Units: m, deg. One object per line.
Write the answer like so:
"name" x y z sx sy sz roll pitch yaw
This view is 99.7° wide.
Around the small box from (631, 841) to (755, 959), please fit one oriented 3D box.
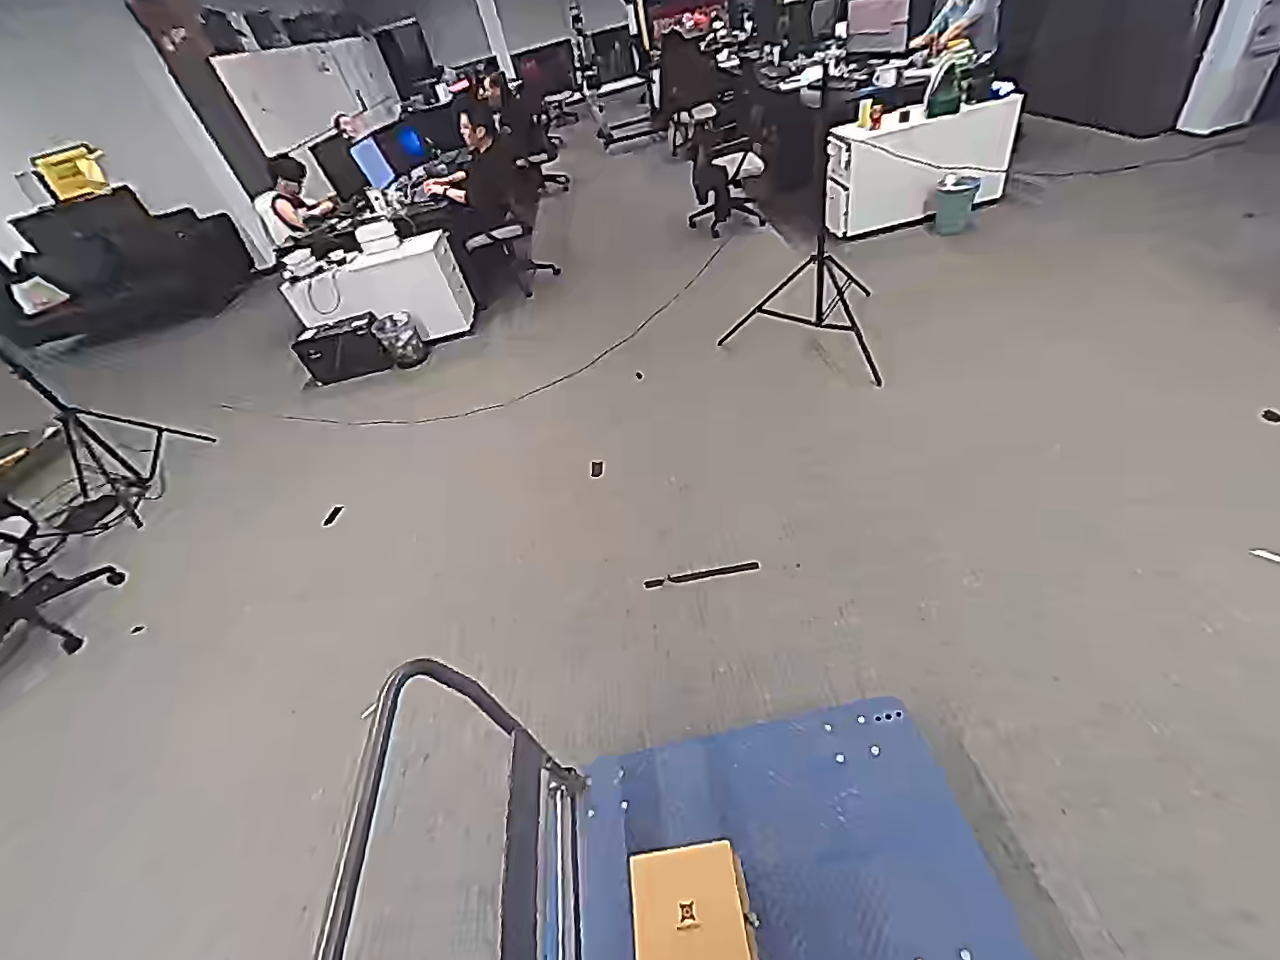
"small box" 0.086 0.704 0.852 0.168 0.176 0.179 -12 43 4
